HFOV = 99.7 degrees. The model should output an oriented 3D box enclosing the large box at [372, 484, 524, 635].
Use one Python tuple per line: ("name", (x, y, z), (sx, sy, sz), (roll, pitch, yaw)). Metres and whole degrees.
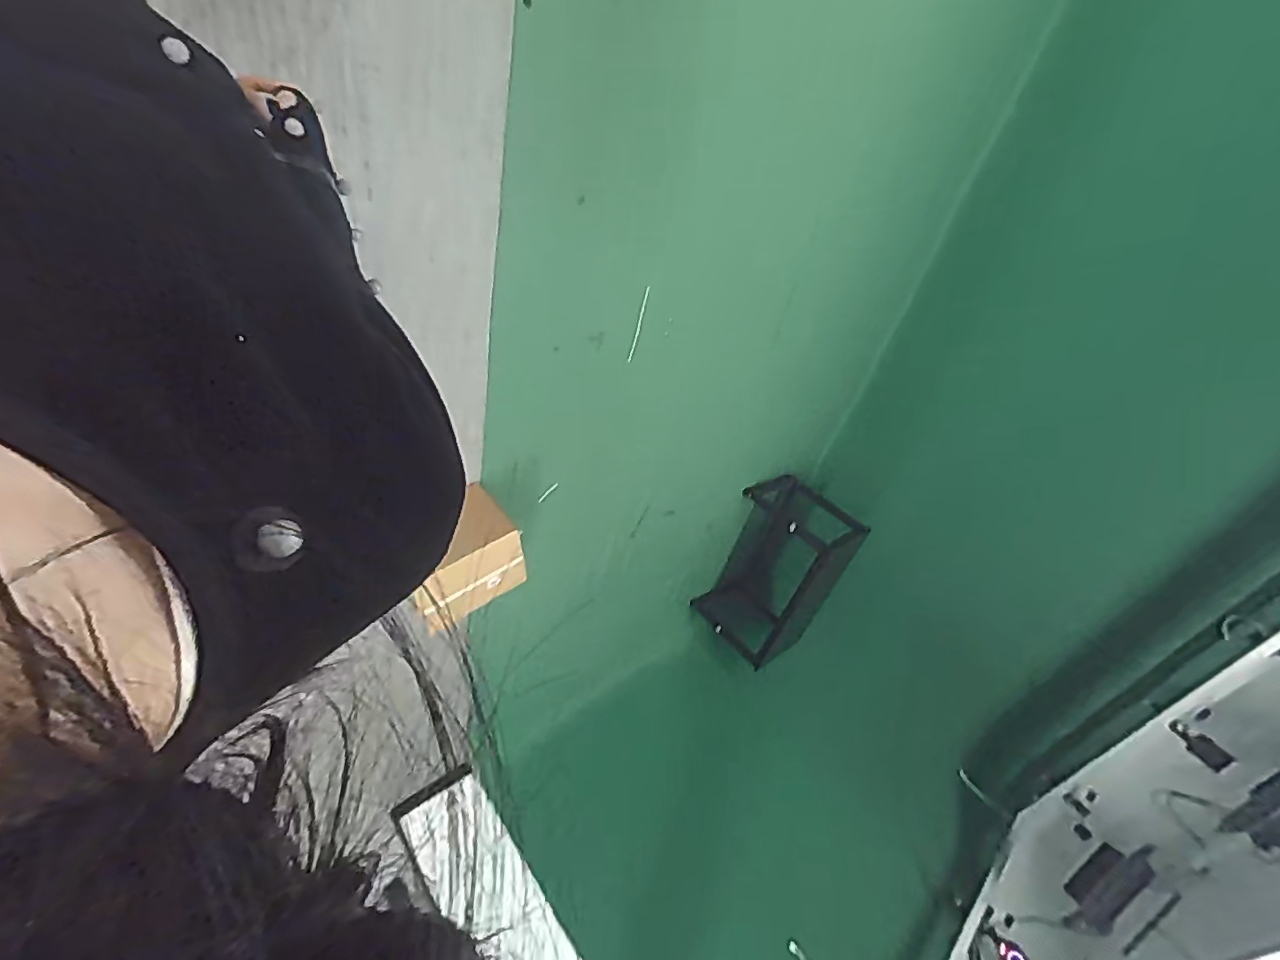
("large box", (-0.698, 0.283, 2.003), (0.408, 0.320, 0.320), (-30, 144, -30))
